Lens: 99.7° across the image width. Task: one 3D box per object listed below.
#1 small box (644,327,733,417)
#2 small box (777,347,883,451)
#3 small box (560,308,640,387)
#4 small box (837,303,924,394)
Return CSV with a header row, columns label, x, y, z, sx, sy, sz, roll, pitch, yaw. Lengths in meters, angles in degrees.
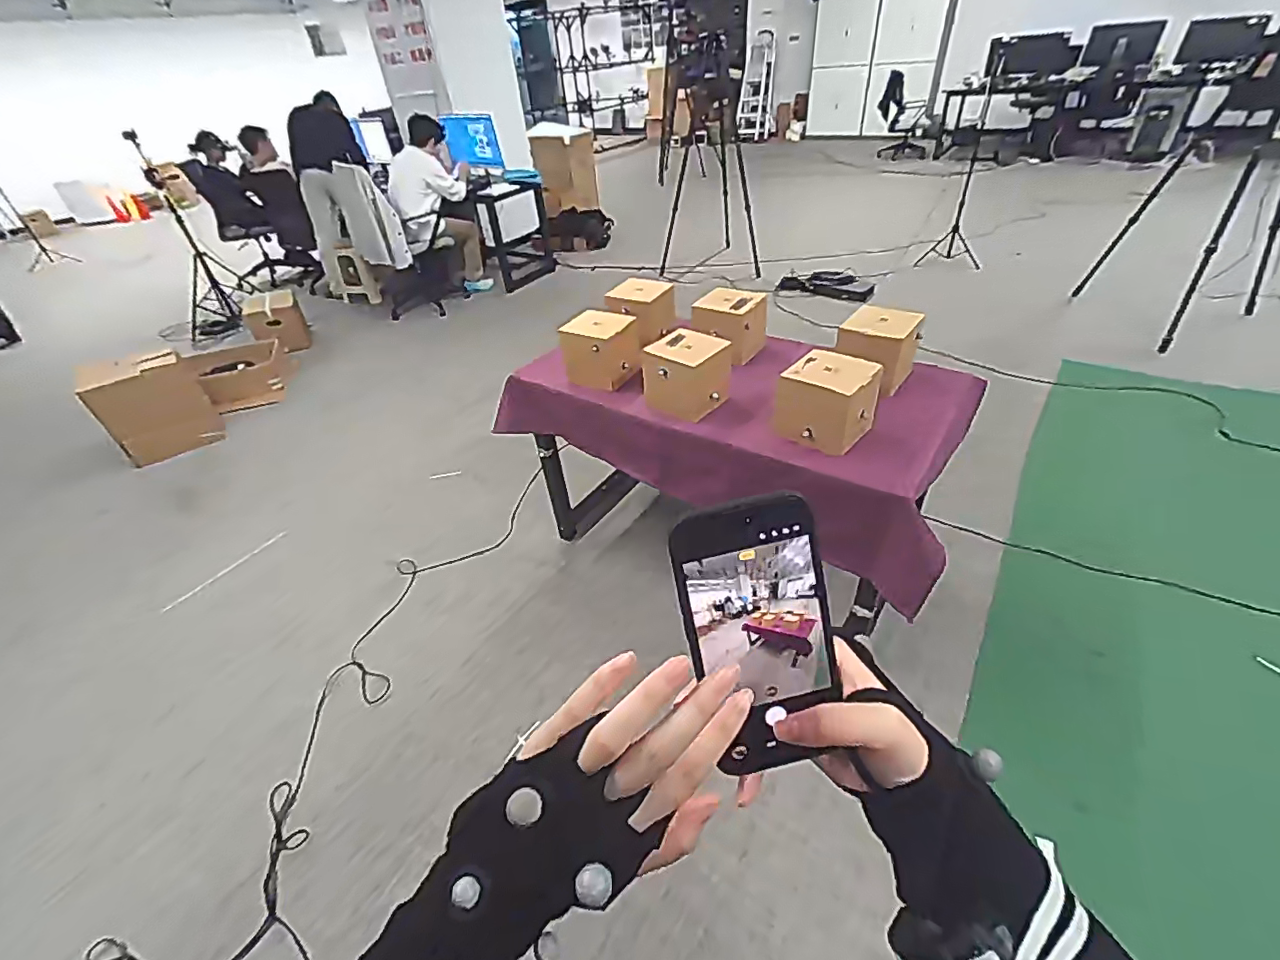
label,x,y,z,sx,sy,sz,roll,pitch,yaw
small box,0.130,-0.291,1.458,0.179,0.176,0.168,27,49,33
small box,0.448,-0.192,1.295,0.179,0.176,0.168,28,49,34
small box,-0.115,-0.397,1.622,0.179,0.176,0.168,18,44,25
small box,0.644,-0.359,1.474,0.168,0.176,0.179,24,48,33
